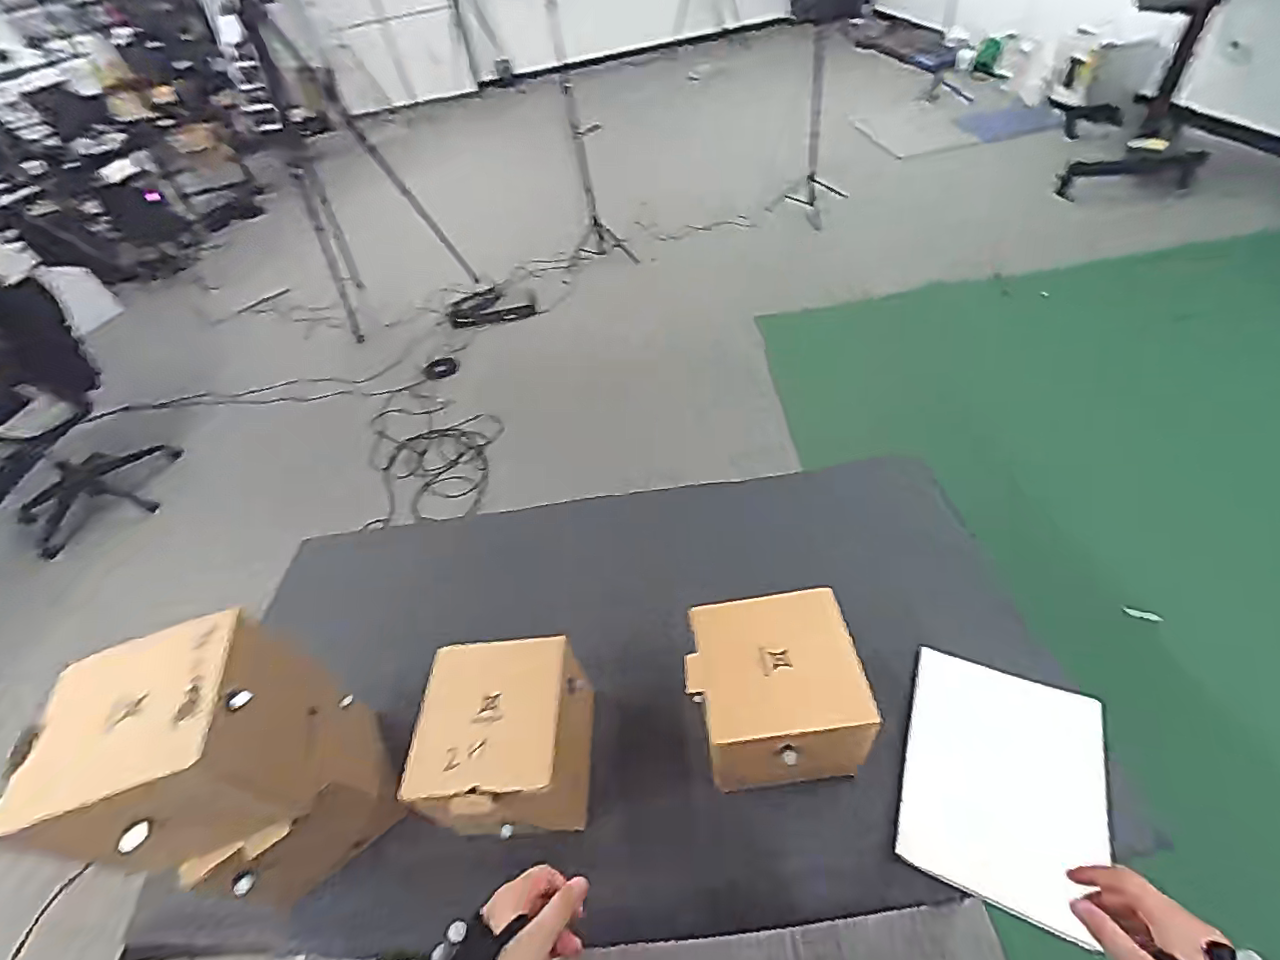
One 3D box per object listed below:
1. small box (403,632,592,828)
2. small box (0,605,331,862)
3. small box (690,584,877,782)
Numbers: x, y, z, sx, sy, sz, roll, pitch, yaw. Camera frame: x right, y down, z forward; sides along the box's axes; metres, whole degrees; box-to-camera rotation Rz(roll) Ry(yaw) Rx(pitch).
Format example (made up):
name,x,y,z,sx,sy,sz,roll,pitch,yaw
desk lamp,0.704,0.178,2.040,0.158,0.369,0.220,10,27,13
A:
name,x,y,z,sx,sy,sz,roll,pitch,yaw
small box,-0.160,0.315,0.680,0.168,0.176,0.179,-8,46,7
small box,-0.465,0.267,0.566,0.179,0.176,0.168,-20,46,-5
small box,0.165,0.253,0.667,0.179,0.176,0.168,-11,45,4
